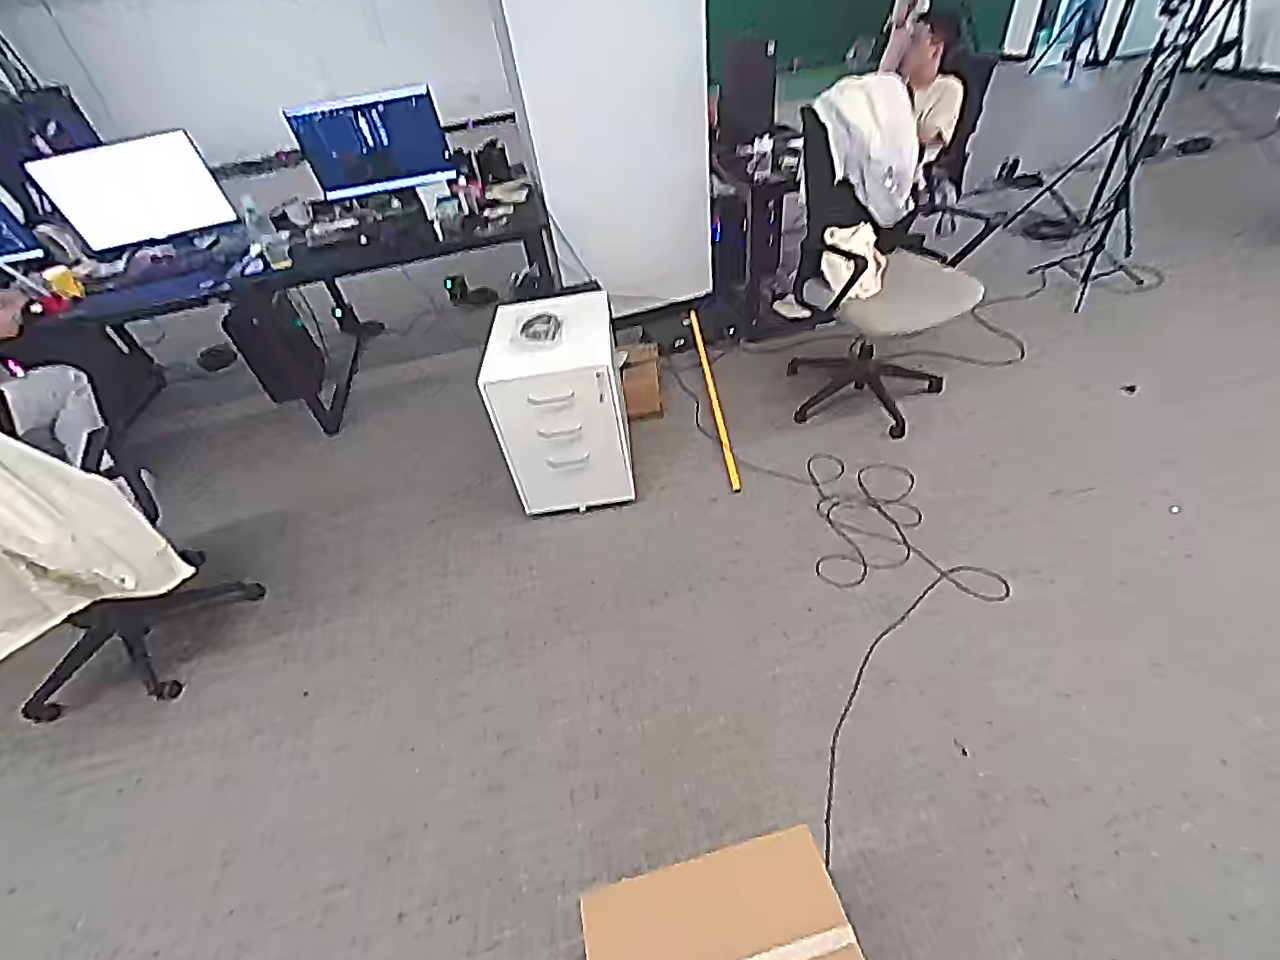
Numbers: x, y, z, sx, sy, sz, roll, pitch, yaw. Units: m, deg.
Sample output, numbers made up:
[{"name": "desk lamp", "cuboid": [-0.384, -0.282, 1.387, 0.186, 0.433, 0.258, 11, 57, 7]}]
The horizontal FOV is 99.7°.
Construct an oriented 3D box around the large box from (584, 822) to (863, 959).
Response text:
[{"name": "large box", "cuboid": [0.150, 0.848, 0.903, 0.408, 0.320, 0.320, -15, 42, -5]}]
